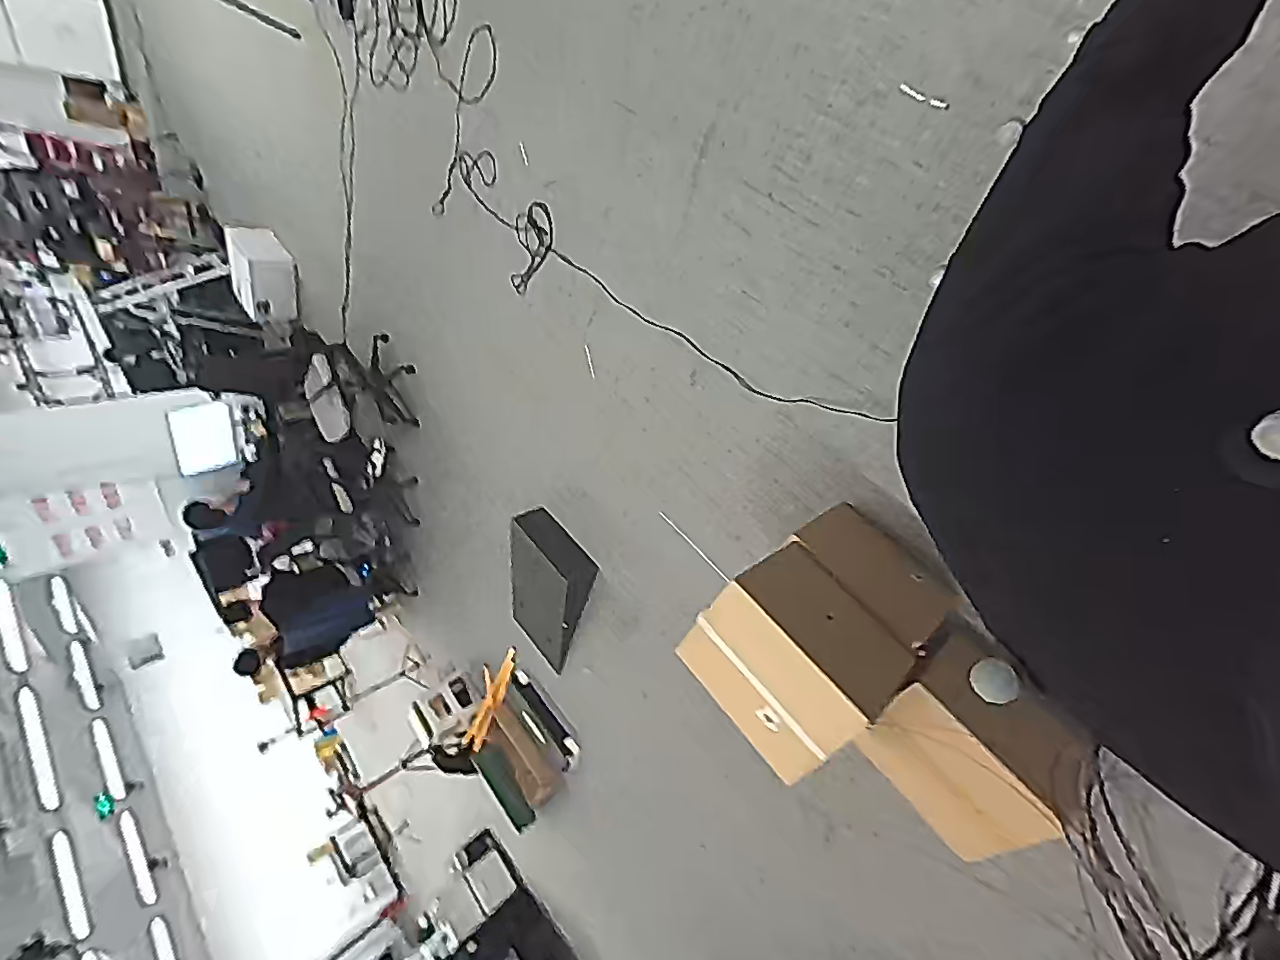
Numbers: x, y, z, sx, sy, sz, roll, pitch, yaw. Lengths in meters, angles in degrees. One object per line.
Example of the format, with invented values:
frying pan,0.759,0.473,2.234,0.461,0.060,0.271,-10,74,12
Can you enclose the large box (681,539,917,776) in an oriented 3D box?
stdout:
large box,0.388,0.419,1.352,0.408,0.320,0.320,46,129,23
